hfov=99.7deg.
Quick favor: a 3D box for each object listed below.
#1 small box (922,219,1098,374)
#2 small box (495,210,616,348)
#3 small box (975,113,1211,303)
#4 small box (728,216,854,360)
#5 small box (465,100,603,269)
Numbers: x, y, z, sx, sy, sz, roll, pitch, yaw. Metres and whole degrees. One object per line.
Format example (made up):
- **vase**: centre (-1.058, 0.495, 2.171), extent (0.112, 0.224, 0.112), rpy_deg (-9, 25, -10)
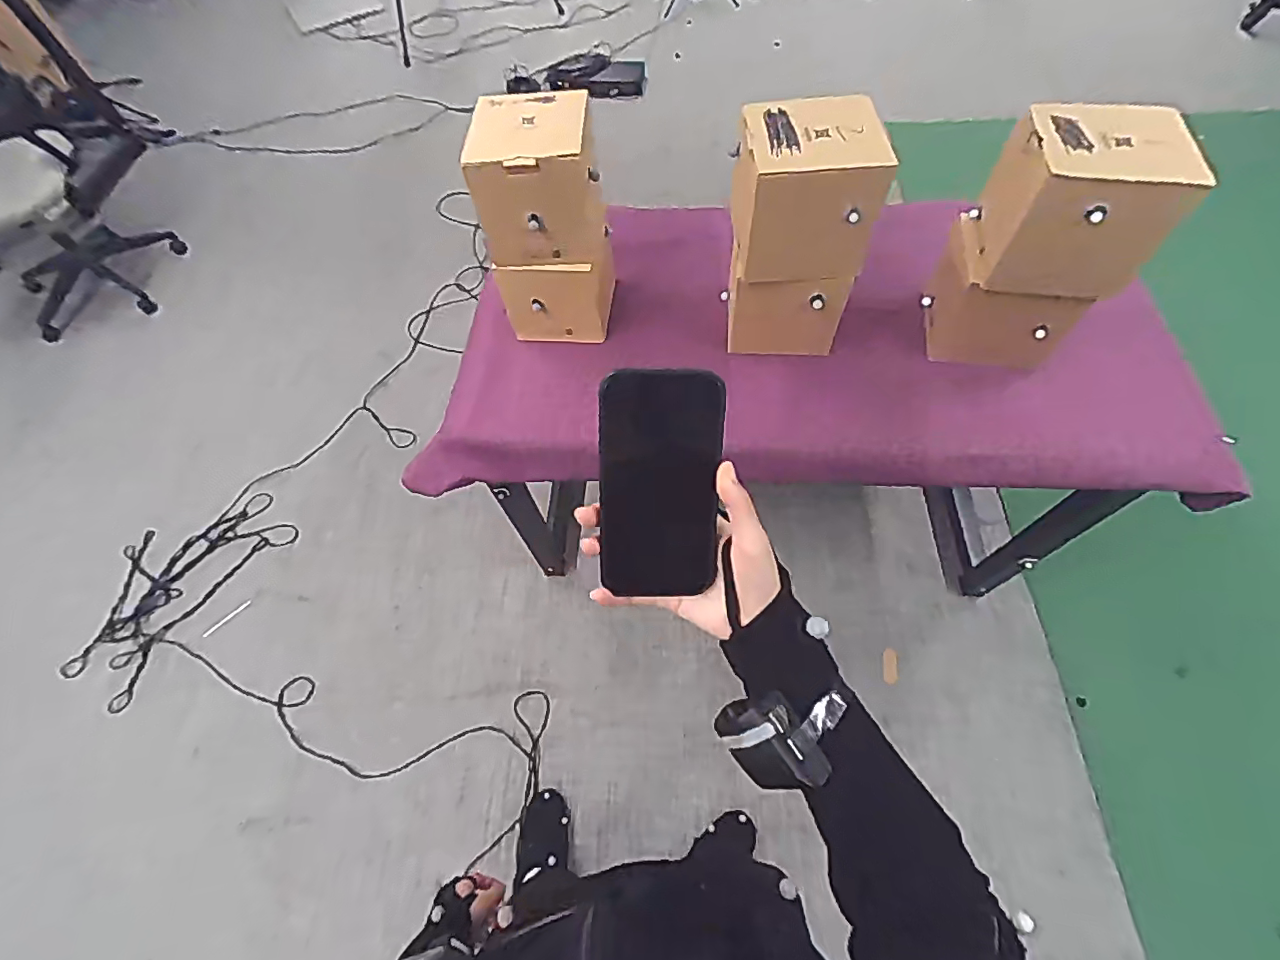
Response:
- **small box**: centre (0.582, -0.291, 0.877), extent (0.179, 0.176, 0.168), rpy_deg (8, 60, 9)
- **small box**: centre (-0.140, -0.356, 0.972), extent (0.168, 0.176, 0.179), rpy_deg (3, 60, 7)
- **small box**: centre (0.579, -0.360, 0.727), extent (0.179, 0.176, 0.168), rpy_deg (8, 60, 8)
- **small box**: centre (0.246, -0.320, 0.919), extent (0.179, 0.176, 0.168), rpy_deg (3, 60, 6)
- **small box**: centre (-0.150, -0.445, 0.835), extent (0.168, 0.176, 0.179), rpy_deg (-1, 60, 3)
